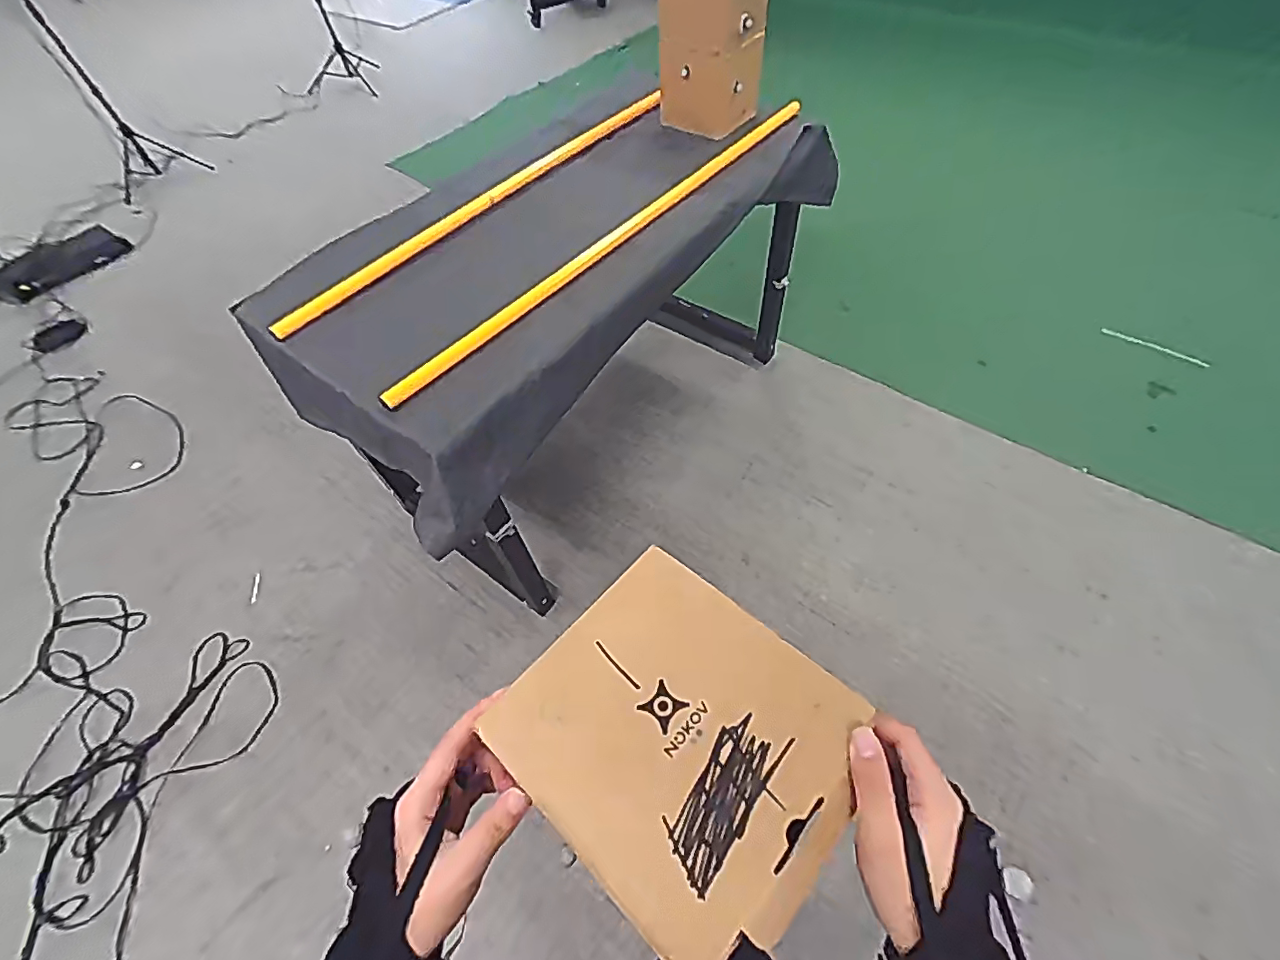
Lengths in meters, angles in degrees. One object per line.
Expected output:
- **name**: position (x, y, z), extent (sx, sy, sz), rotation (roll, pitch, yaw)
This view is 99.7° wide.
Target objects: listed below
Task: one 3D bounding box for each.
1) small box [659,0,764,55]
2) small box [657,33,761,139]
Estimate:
- **small box**: position (0.150, -1.030, 1.138), extent (0.179, 0.176, 0.168), rotation (30, 65, 23)
- **small box**: position (0.160, -0.934, 1.269), extent (0.179, 0.176, 0.168), rotation (32, 64, 24)
